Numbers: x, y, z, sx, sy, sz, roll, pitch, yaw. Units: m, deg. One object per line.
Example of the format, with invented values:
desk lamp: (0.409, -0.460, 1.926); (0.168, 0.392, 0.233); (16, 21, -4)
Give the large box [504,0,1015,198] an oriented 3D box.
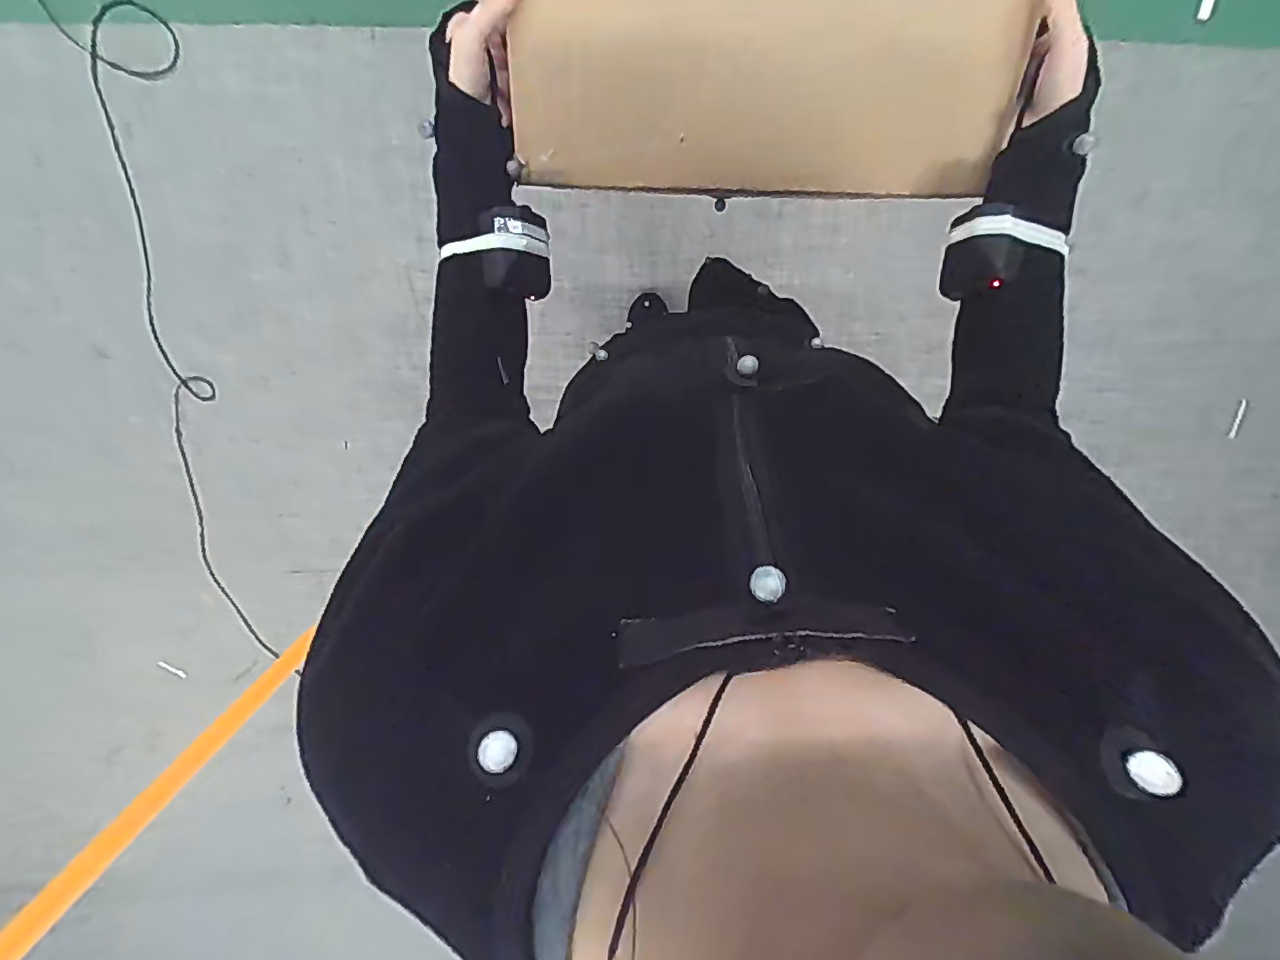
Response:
large box: (0.090, -0.457, 0.534); (0.408, 0.320, 0.320); (0, 116, -2)
